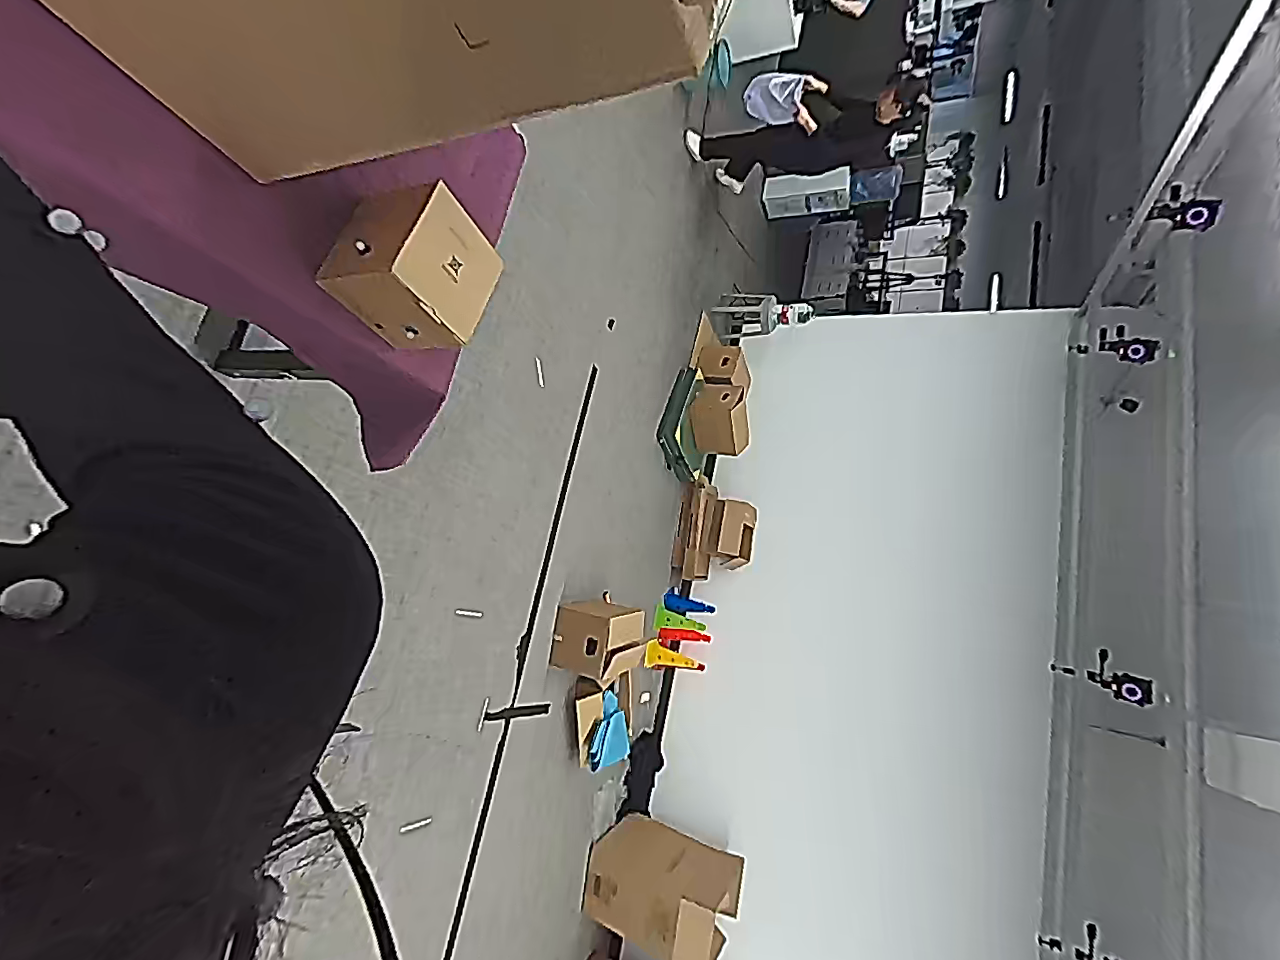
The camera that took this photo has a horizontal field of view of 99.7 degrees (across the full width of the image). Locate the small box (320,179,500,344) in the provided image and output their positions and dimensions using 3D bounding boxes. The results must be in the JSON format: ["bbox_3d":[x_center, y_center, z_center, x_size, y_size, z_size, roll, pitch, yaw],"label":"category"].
[{"bbox_3d":[-0.358,-0.330,0.847,0.168,0.176,0.179,51,49,-57],"label":"small box"}]
